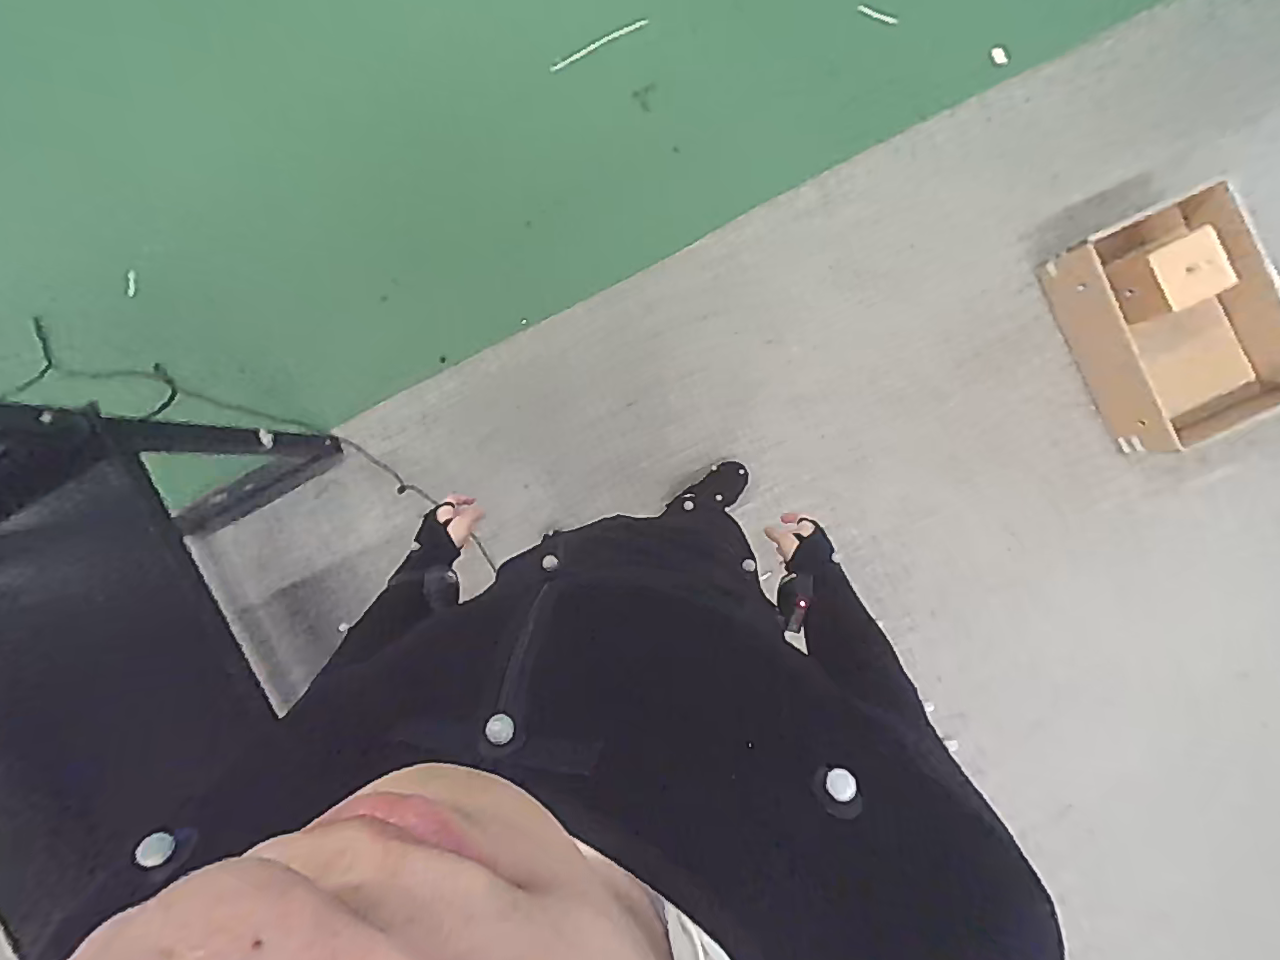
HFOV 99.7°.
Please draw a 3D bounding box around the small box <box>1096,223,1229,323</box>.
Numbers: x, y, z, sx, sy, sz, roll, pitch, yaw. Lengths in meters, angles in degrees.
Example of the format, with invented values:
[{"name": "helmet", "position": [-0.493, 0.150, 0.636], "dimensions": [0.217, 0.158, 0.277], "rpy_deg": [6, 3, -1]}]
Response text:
[{"name": "small box", "position": [1.378, -0.542, 1.445], "dimensions": [0.179, 0.176, 0.168], "rpy_deg": [-26, 92, 2]}]
